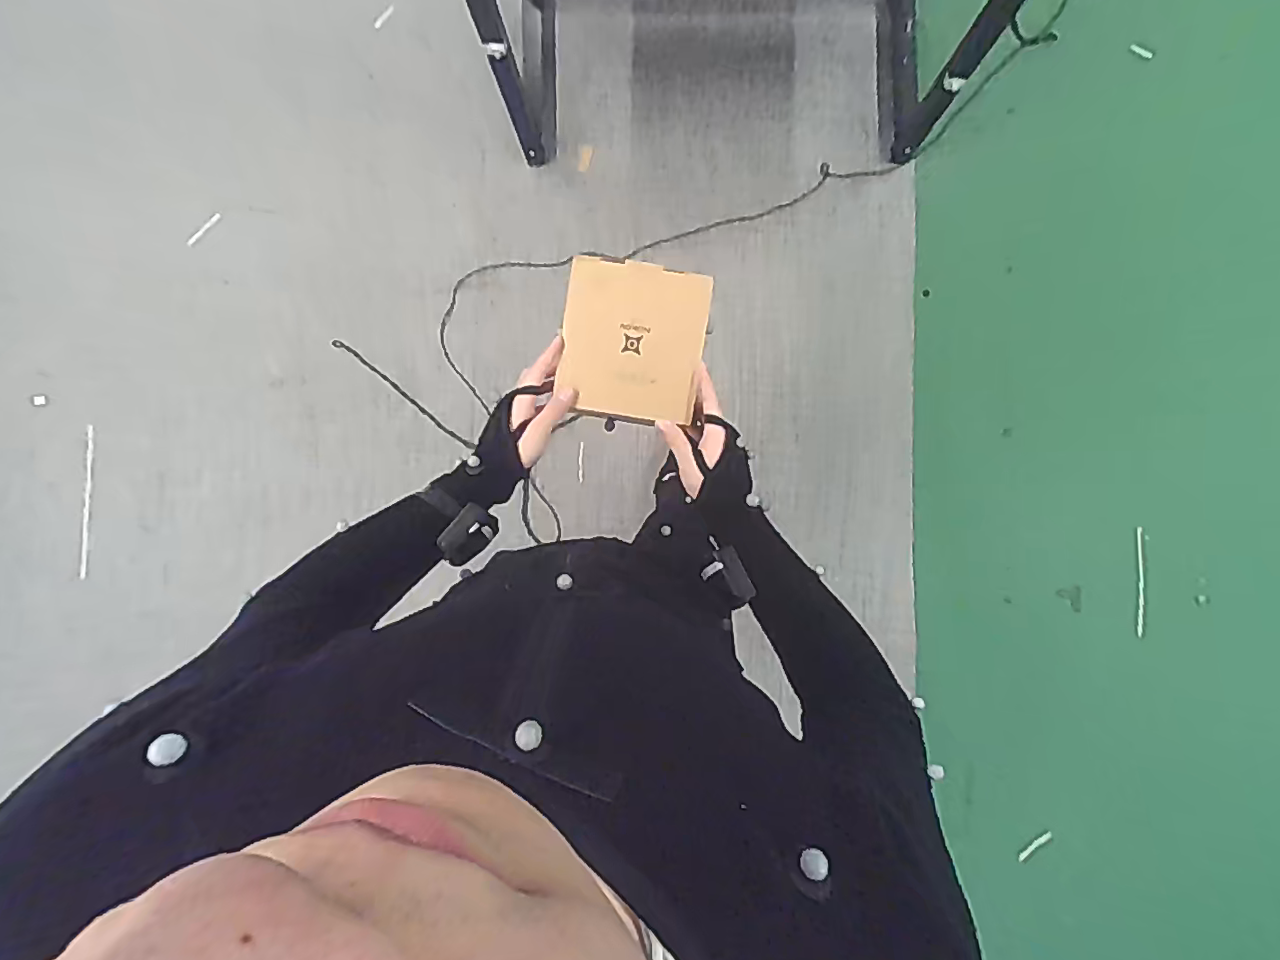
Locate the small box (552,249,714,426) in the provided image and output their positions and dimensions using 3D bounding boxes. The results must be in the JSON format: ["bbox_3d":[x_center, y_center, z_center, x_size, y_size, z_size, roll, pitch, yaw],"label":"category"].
[{"bbox_3d":[-0.010,-0.170,0.702,0.168,0.176,0.179,10,94,-1],"label":"small box"}]

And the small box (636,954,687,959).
[{"bbox_3d":[0.061,1.279,1.270,0.168,0.176,0.179,3,87,2],"label":"small box"}]
